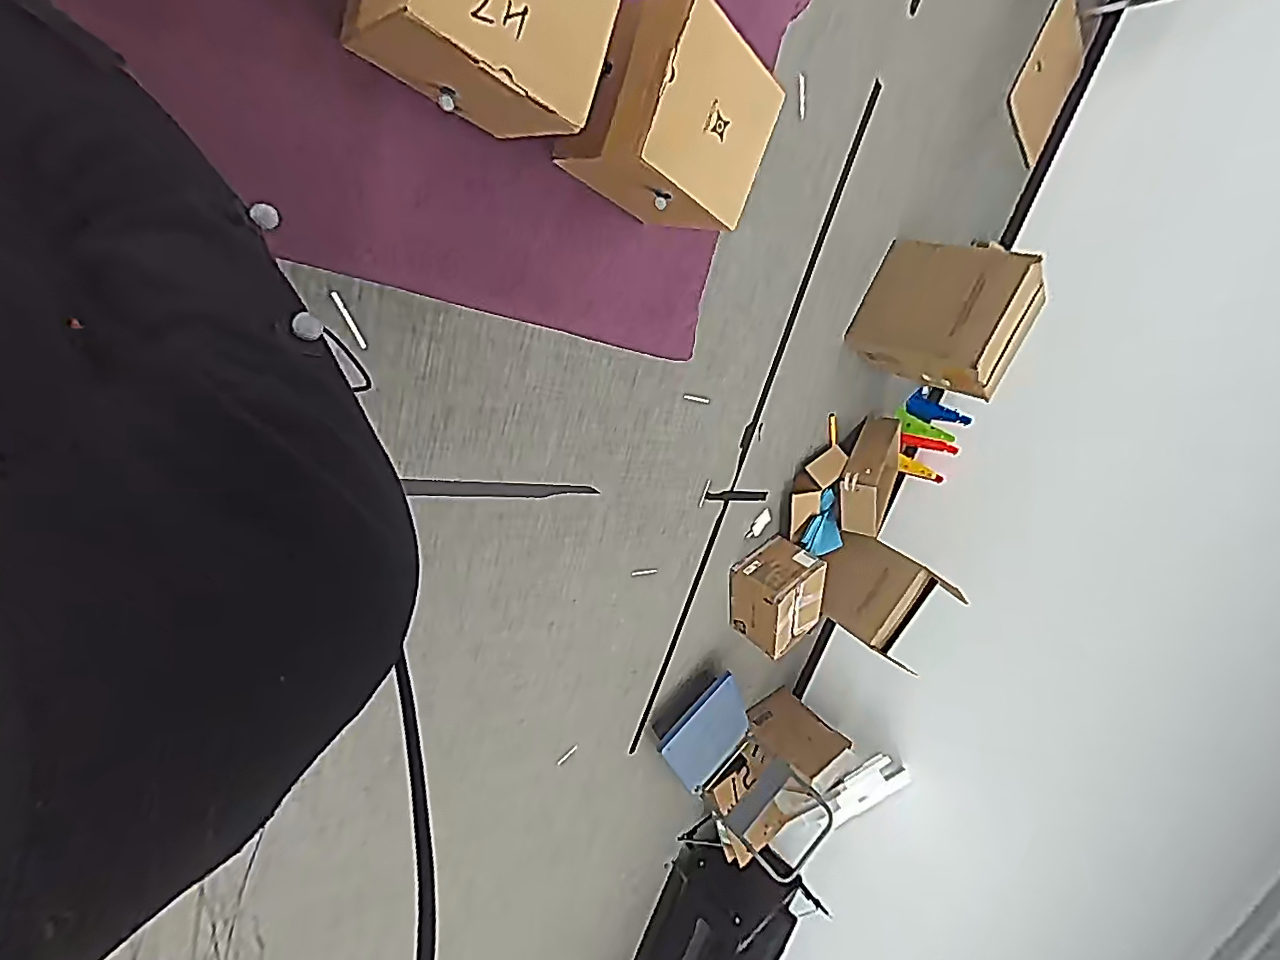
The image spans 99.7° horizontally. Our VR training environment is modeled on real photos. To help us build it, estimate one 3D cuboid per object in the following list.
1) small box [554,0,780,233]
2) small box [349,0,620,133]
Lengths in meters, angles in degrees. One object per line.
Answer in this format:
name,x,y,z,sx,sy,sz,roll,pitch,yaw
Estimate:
small box,0.030,-0.425,0.653,0.179,0.176,0.168,9,106,-47
small box,-0.134,-0.440,0.476,0.168,0.176,0.179,6,109,-46
